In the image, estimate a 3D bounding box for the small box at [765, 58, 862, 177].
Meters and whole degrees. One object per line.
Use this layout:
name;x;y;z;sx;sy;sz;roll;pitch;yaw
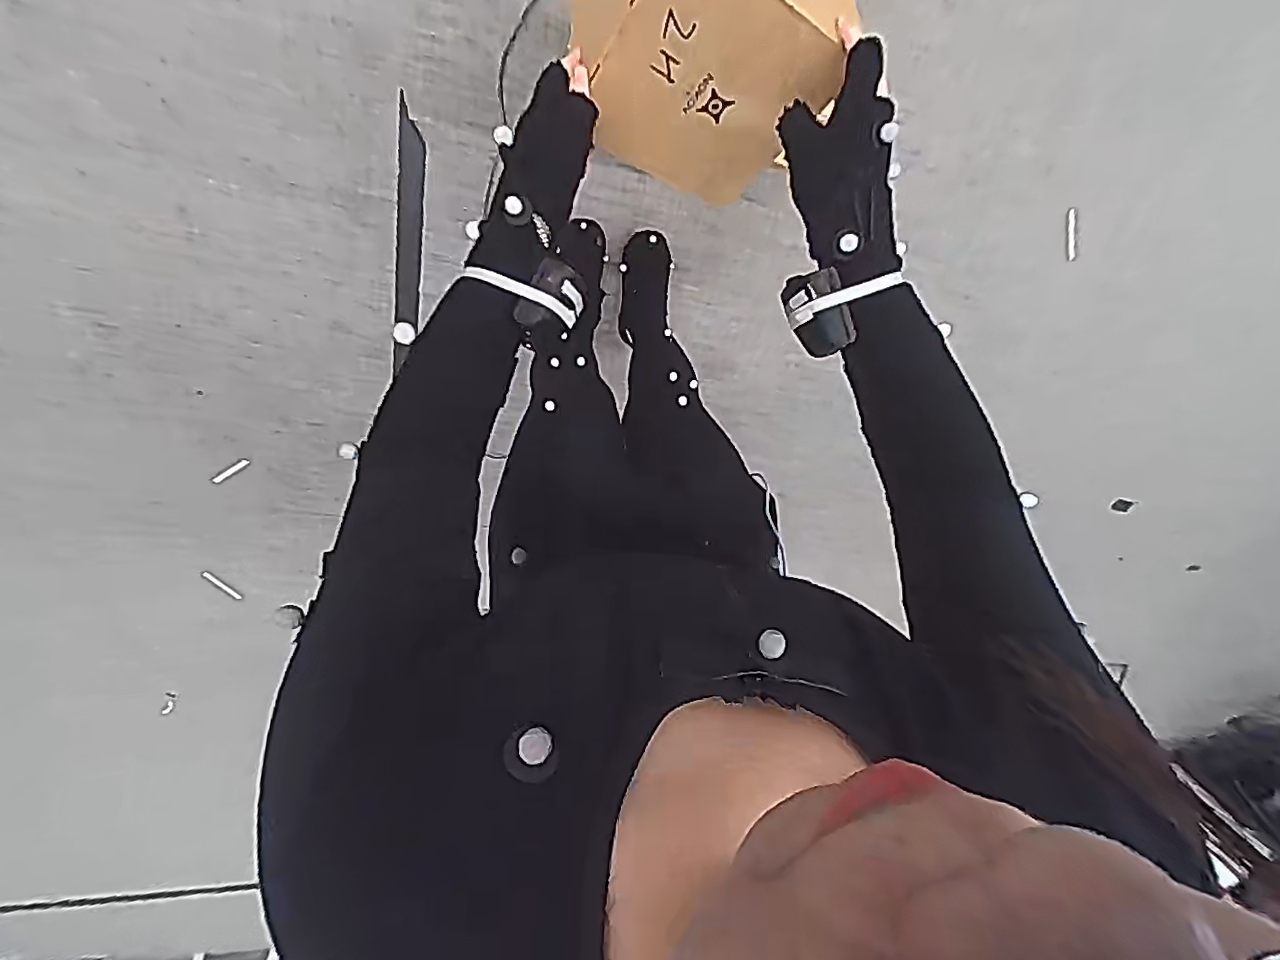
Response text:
small box;0.228;-0.633;0.918;0.179;0.176;0.168;6;121;-19

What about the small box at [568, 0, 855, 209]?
small box;0.053;-0.384;0.463;0.179;0.176;0.168;11;158;-30
